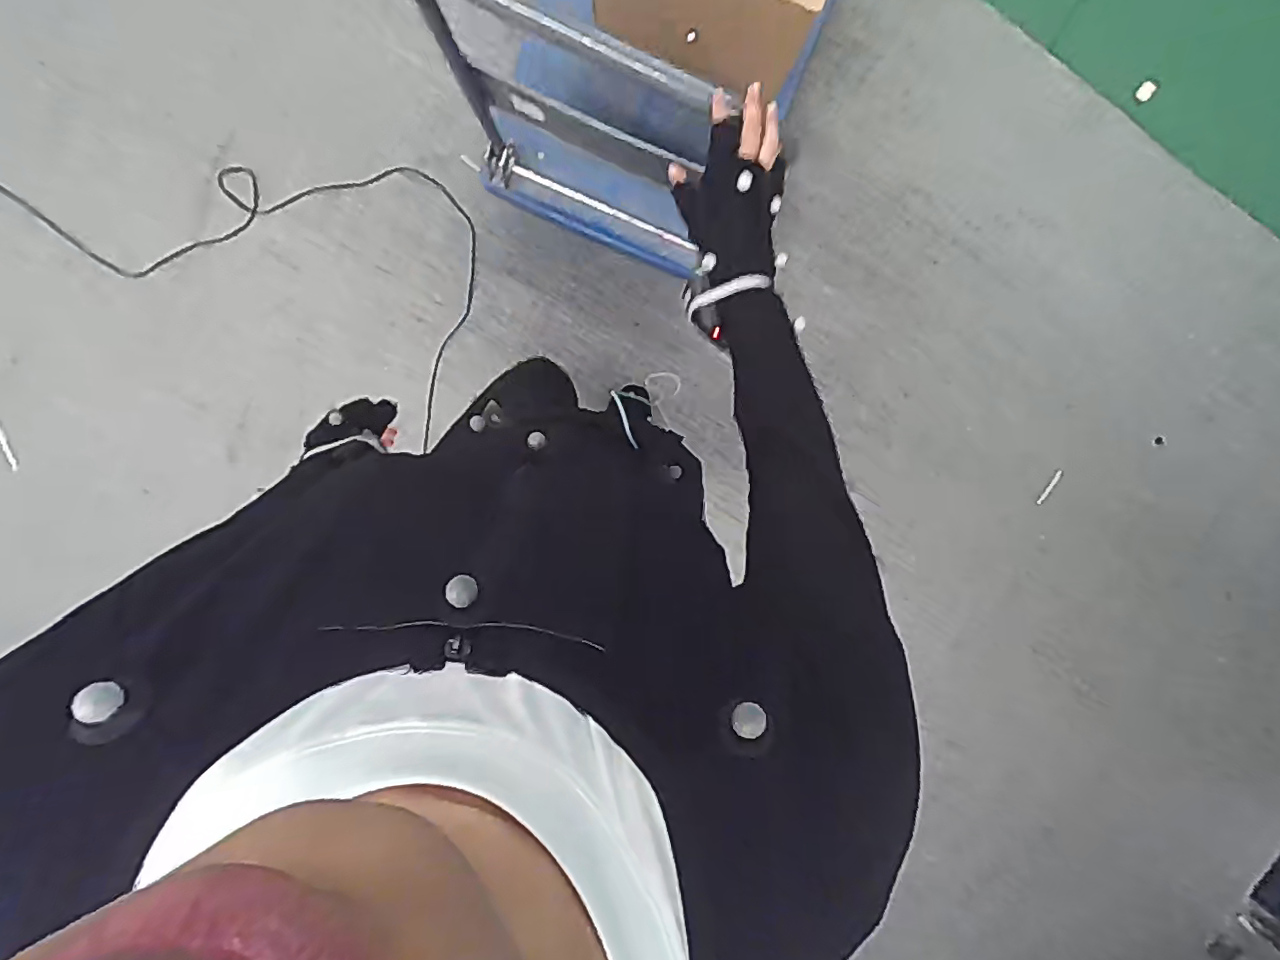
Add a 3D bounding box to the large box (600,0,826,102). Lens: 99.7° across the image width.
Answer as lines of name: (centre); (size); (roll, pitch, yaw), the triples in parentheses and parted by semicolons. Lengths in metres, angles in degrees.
large box: (0.160, -0.995, 0.992); (0.408, 0.320, 0.320); (20, 97, -4)
